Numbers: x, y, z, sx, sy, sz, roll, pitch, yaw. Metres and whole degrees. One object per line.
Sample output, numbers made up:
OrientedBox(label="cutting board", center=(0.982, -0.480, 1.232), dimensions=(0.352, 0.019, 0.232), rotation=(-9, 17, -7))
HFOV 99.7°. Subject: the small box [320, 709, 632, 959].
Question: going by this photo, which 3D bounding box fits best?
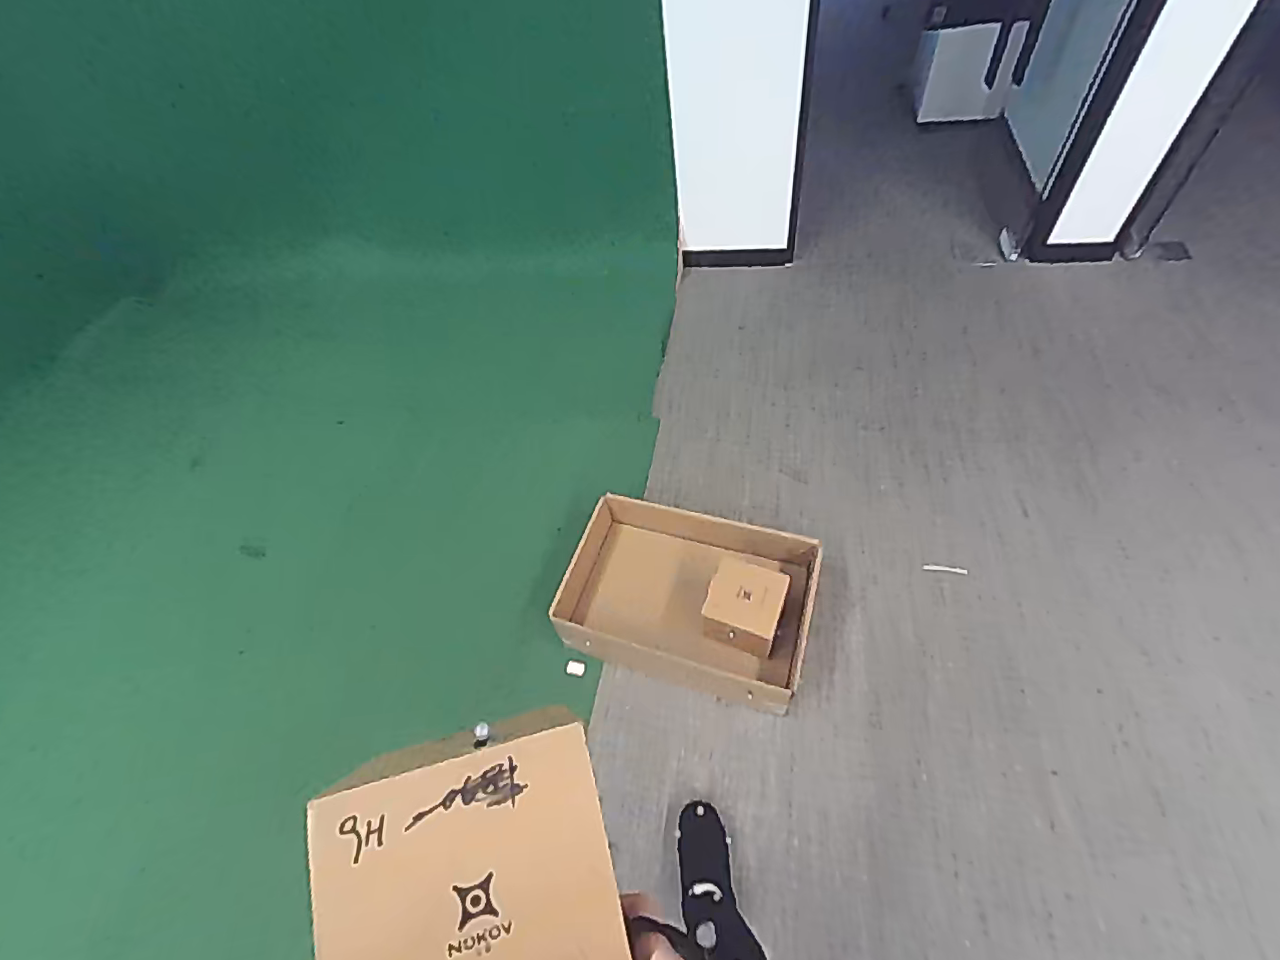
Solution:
OrientedBox(label="small box", center=(-0.109, 0.281, 0.390), dimensions=(0.168, 0.176, 0.179), rotation=(-9, 74, -17))
